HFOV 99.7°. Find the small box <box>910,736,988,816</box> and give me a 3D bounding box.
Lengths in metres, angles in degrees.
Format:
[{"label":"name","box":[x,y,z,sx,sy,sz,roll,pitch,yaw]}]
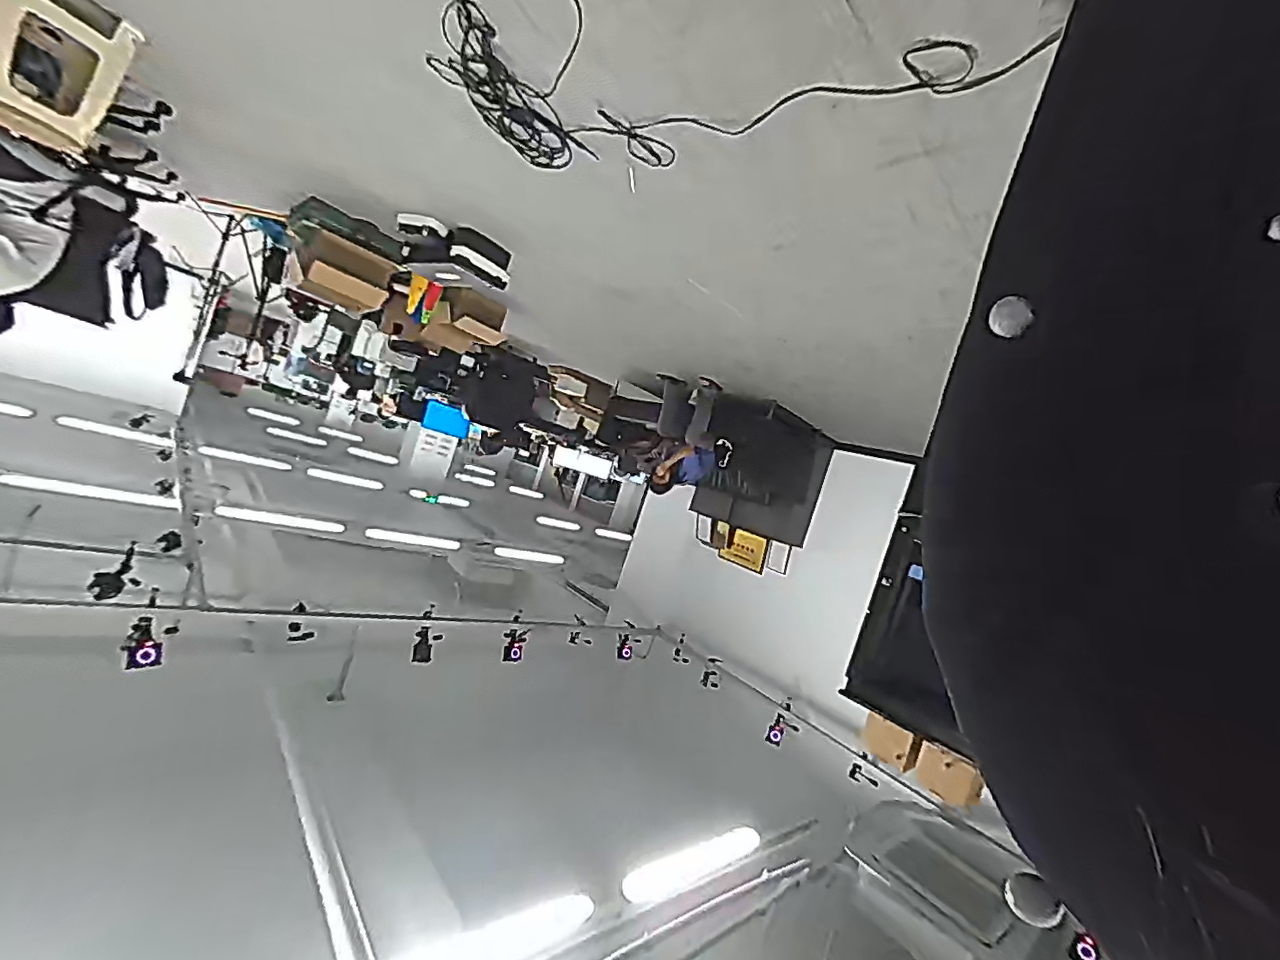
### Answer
[{"label":"small box","box":[1.067,1.010,1.862,0.179,0.176,0.168,18,180,-42]}]
